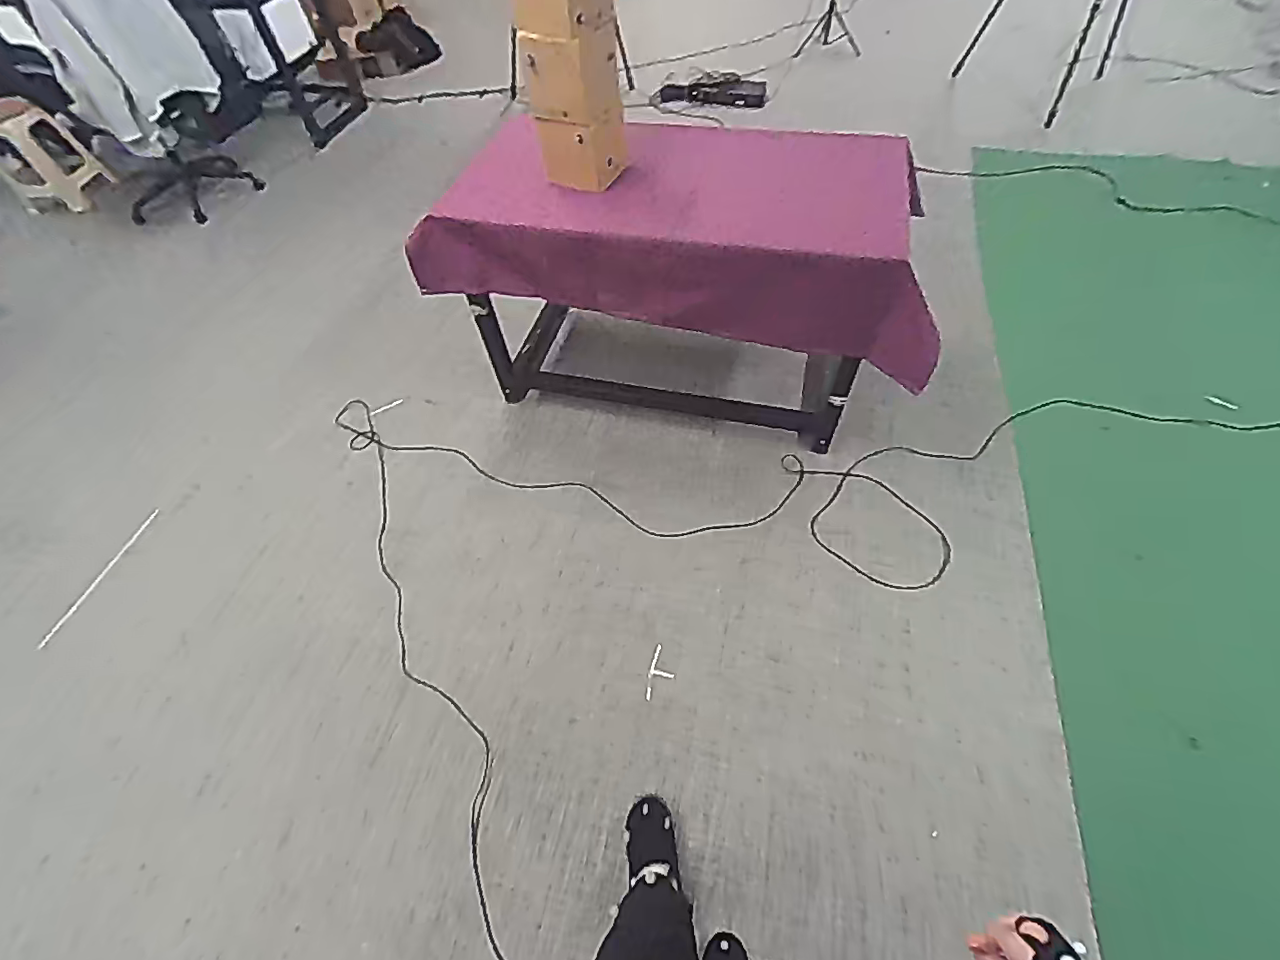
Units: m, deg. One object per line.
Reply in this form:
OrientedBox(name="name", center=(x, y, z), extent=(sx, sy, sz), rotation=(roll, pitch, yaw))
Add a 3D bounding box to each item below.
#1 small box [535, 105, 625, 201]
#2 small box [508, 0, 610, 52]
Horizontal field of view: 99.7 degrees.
OrientedBox(name="small box", center=(-0.156, -0.887, 1.471), extent=(0.179, 0.176, 0.168), rotation=(20, 58, 17))
OrientedBox(name="small box", center=(-0.182, -1.094, 1.216), extent=(0.179, 0.176, 0.168), rotation=(26, 59, 21))
